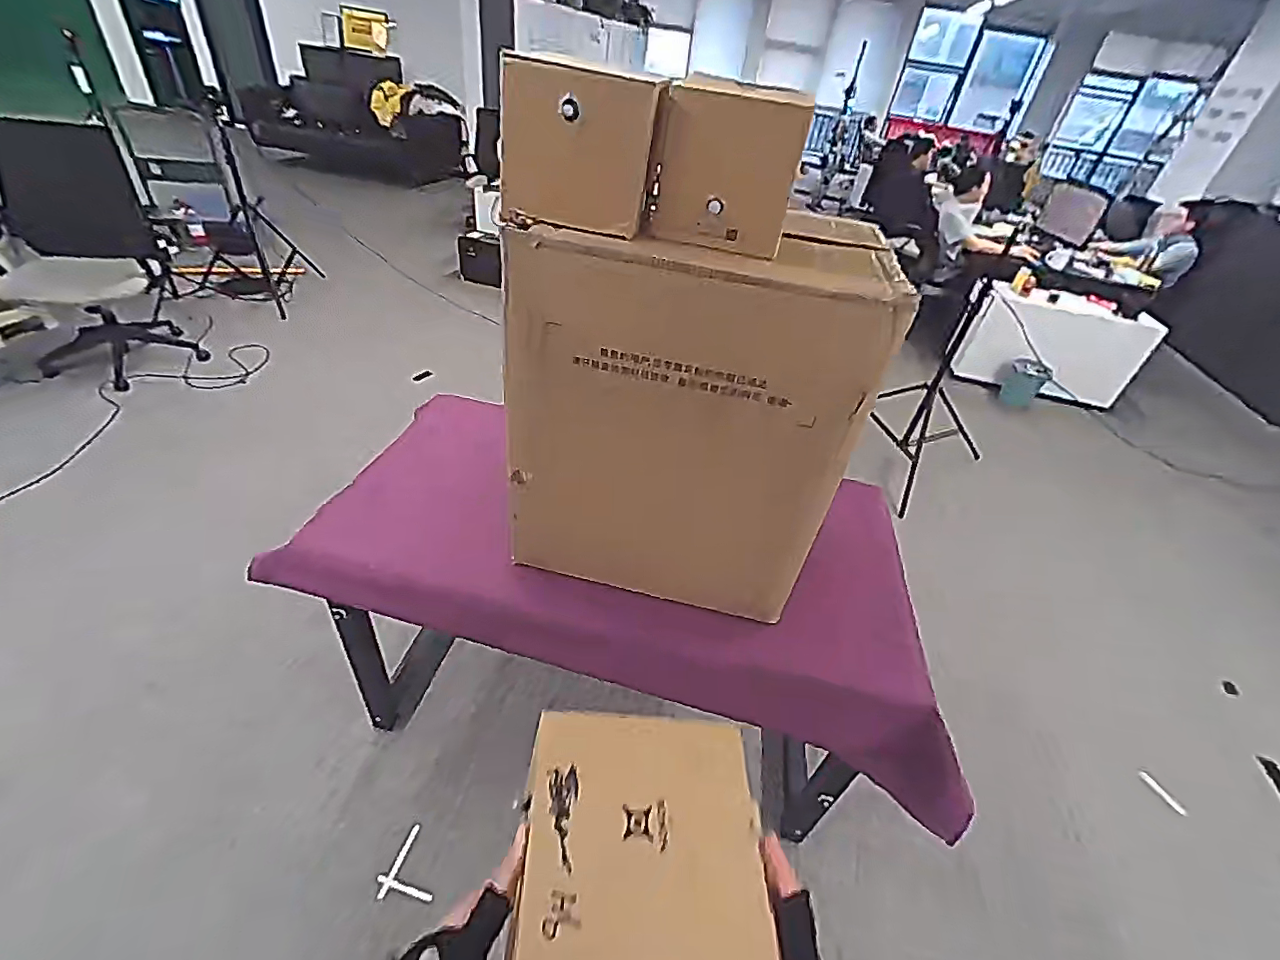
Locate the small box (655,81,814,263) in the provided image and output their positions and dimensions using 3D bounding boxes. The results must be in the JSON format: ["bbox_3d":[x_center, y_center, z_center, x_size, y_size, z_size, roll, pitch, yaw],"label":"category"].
[{"bbox_3d":[0.122,-0.408,0.714,0.168,0.176,0.179,13,41,7],"label":"small box"}]

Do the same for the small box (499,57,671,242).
[{"bbox_3d":[-0.069,-0.421,0.695,0.179,0.176,0.168,13,39,2],"label":"small box"}]

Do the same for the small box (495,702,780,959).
[{"bbox_3d":[-0.014,0.310,0.444,0.179,0.176,0.168,10,36,-10],"label":"small box"}]
